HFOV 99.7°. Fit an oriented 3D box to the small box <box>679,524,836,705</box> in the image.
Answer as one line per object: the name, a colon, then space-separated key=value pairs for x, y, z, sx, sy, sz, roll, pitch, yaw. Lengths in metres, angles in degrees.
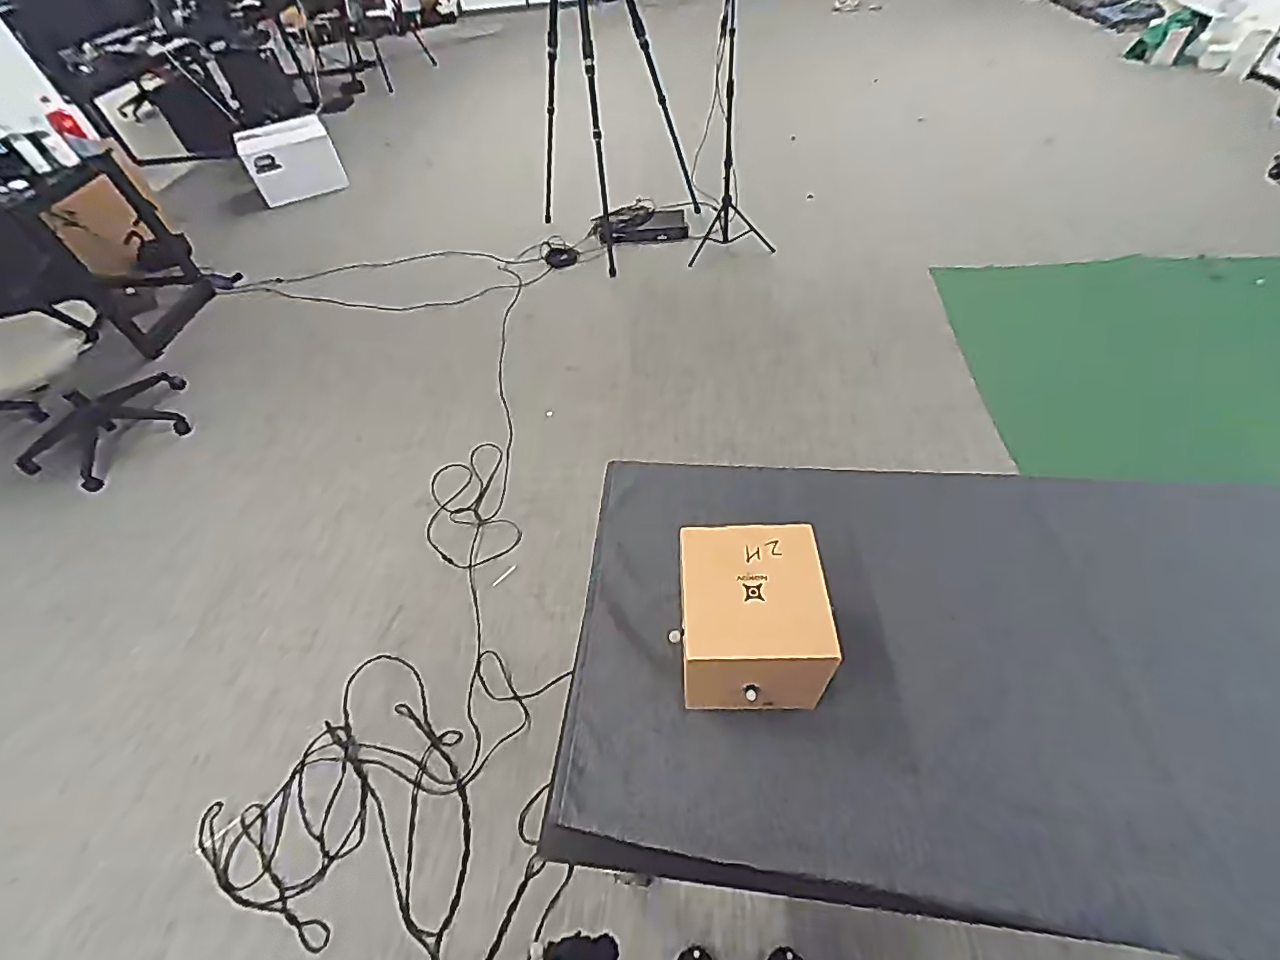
small box: x=0.136 y=0.175 z=0.688 sx=0.168 sy=0.176 sz=0.179 roll=-2 pitch=50 yaw=4
